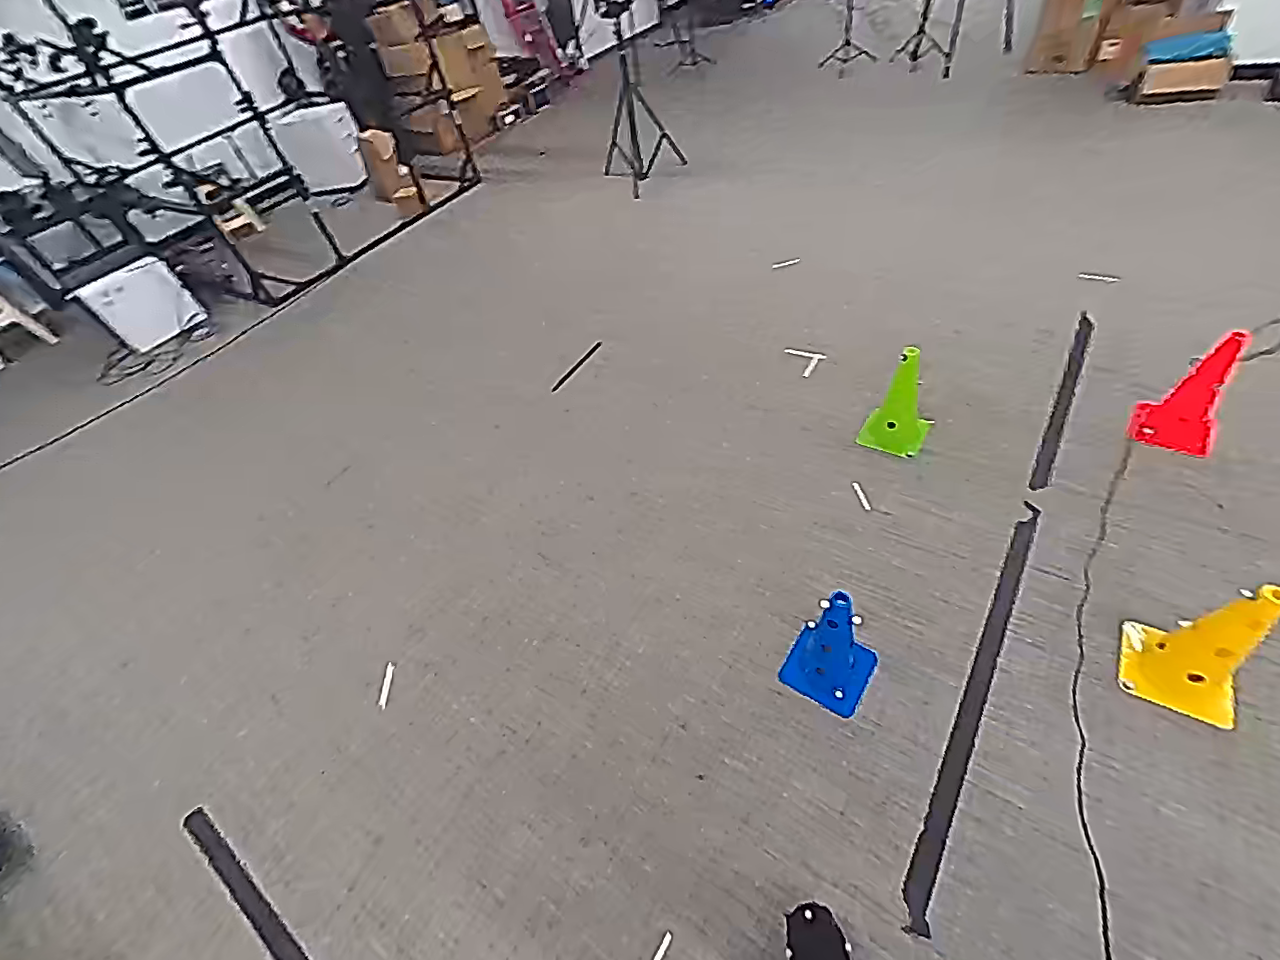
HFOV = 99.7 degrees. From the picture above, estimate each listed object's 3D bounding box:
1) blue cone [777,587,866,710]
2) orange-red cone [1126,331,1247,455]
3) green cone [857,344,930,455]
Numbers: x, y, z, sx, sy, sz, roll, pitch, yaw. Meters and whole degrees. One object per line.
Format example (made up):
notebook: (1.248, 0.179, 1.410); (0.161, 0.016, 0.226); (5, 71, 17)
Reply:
blue cone: (0.447, 0.375, 1.300); (0.192, 0.380, 0.193); (25, 58, 32)
orange-red cone: (1.651, -0.278, 1.588); (0.199, 0.360, 0.198); (27, 61, 31)
green cone: (0.860, -0.288, 1.783); (0.202, 0.368, 0.200); (21, 56, 30)
